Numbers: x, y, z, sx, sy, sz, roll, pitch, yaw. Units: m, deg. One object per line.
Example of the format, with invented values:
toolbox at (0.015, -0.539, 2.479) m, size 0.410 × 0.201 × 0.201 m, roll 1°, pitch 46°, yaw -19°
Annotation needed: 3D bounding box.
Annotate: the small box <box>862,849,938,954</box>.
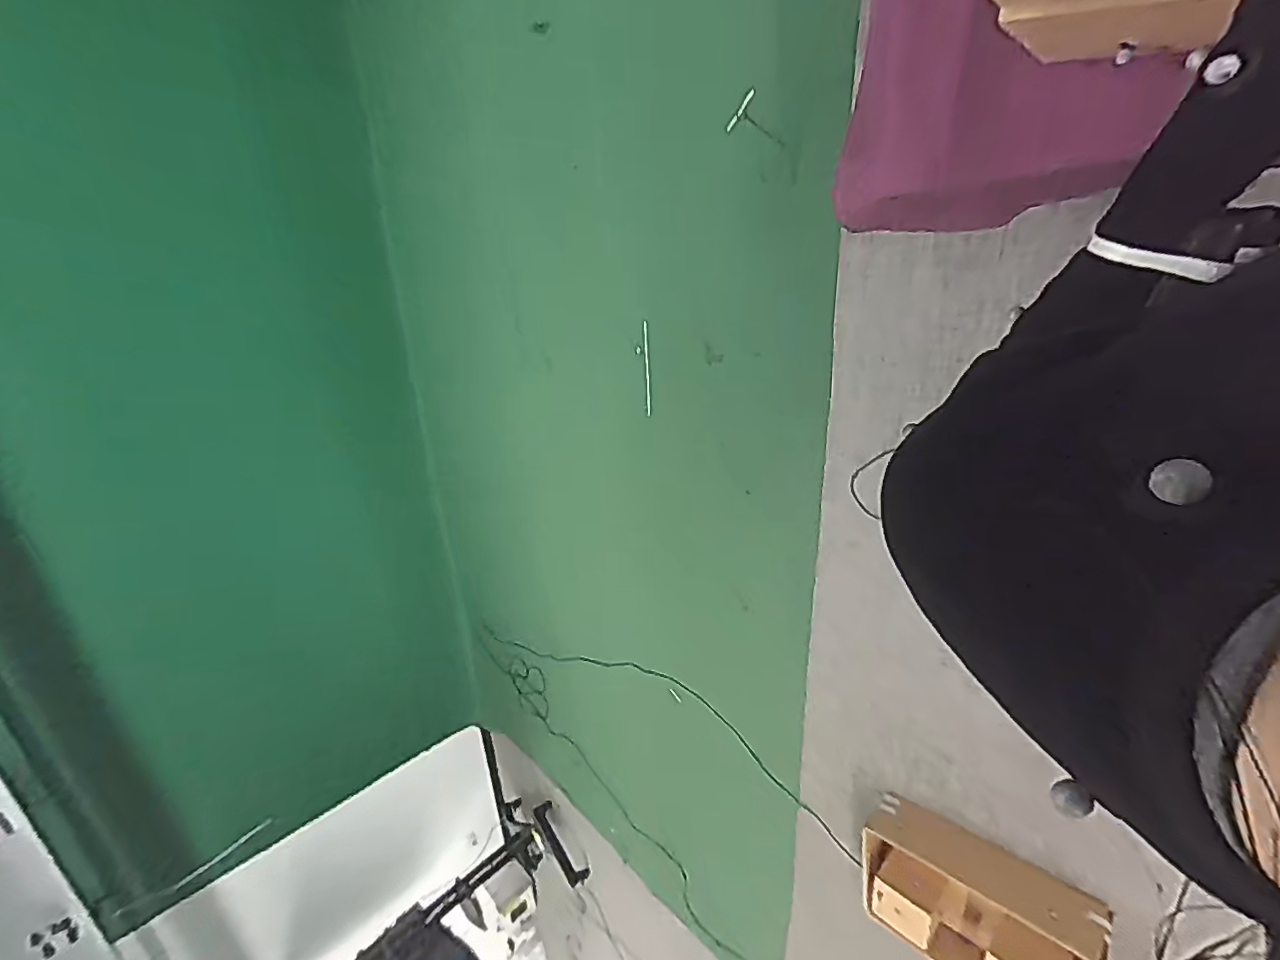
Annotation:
small box at (0.853, 1.369, 1.770) m, size 0.179 × 0.176 × 0.168 m, roll 16°, pitch 116°, yaw 43°
